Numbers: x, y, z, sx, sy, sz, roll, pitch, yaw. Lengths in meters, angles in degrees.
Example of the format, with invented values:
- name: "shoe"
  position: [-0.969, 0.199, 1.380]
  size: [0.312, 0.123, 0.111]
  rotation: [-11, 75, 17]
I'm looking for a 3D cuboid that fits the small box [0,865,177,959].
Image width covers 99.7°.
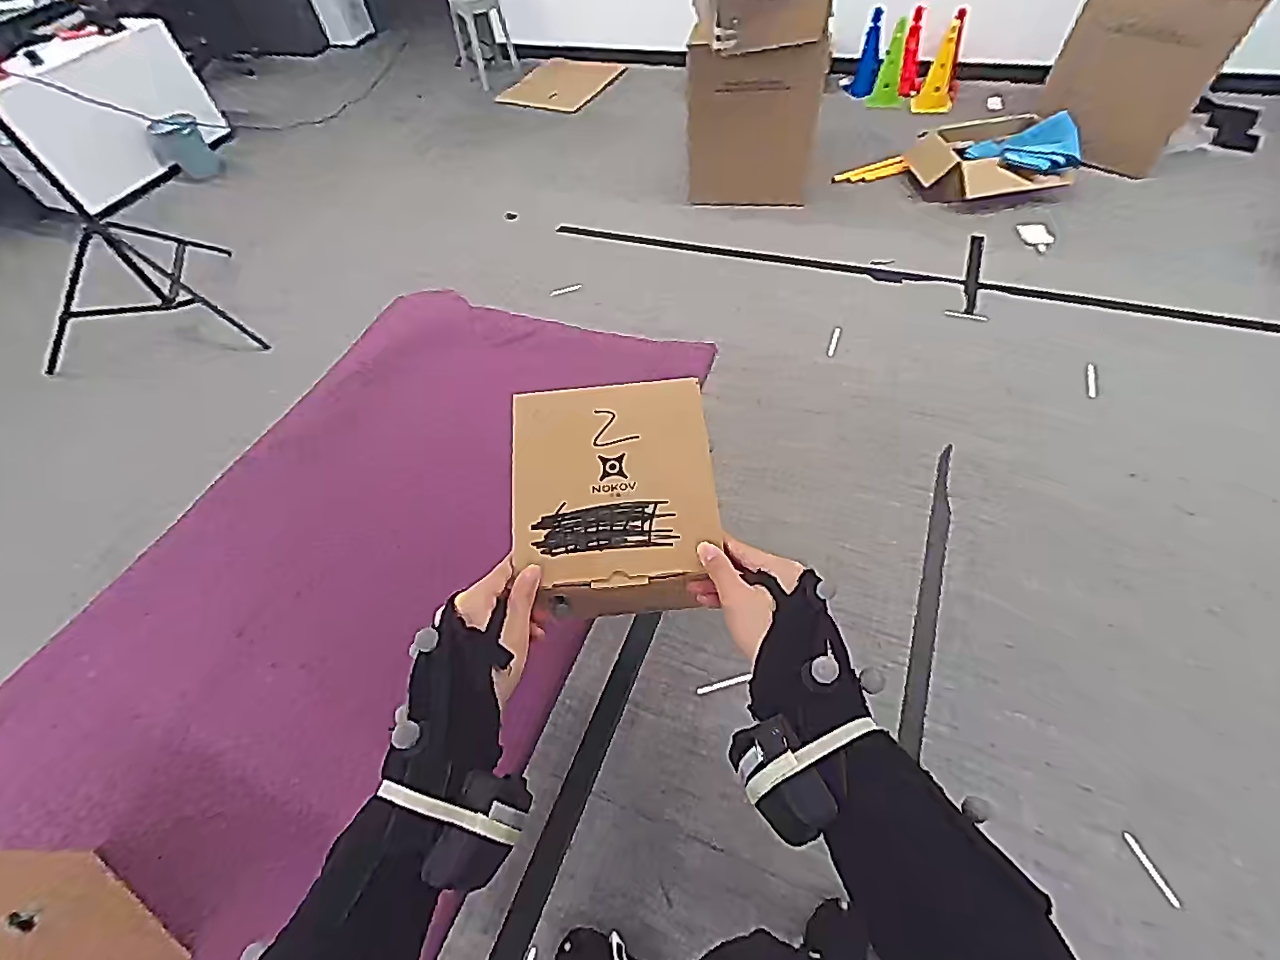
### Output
- name: "small box"
  position: [-0.529, 0.428, 0.420]
  size: [0.179, 0.176, 0.168]
  rotation: [21, 59, 20]
